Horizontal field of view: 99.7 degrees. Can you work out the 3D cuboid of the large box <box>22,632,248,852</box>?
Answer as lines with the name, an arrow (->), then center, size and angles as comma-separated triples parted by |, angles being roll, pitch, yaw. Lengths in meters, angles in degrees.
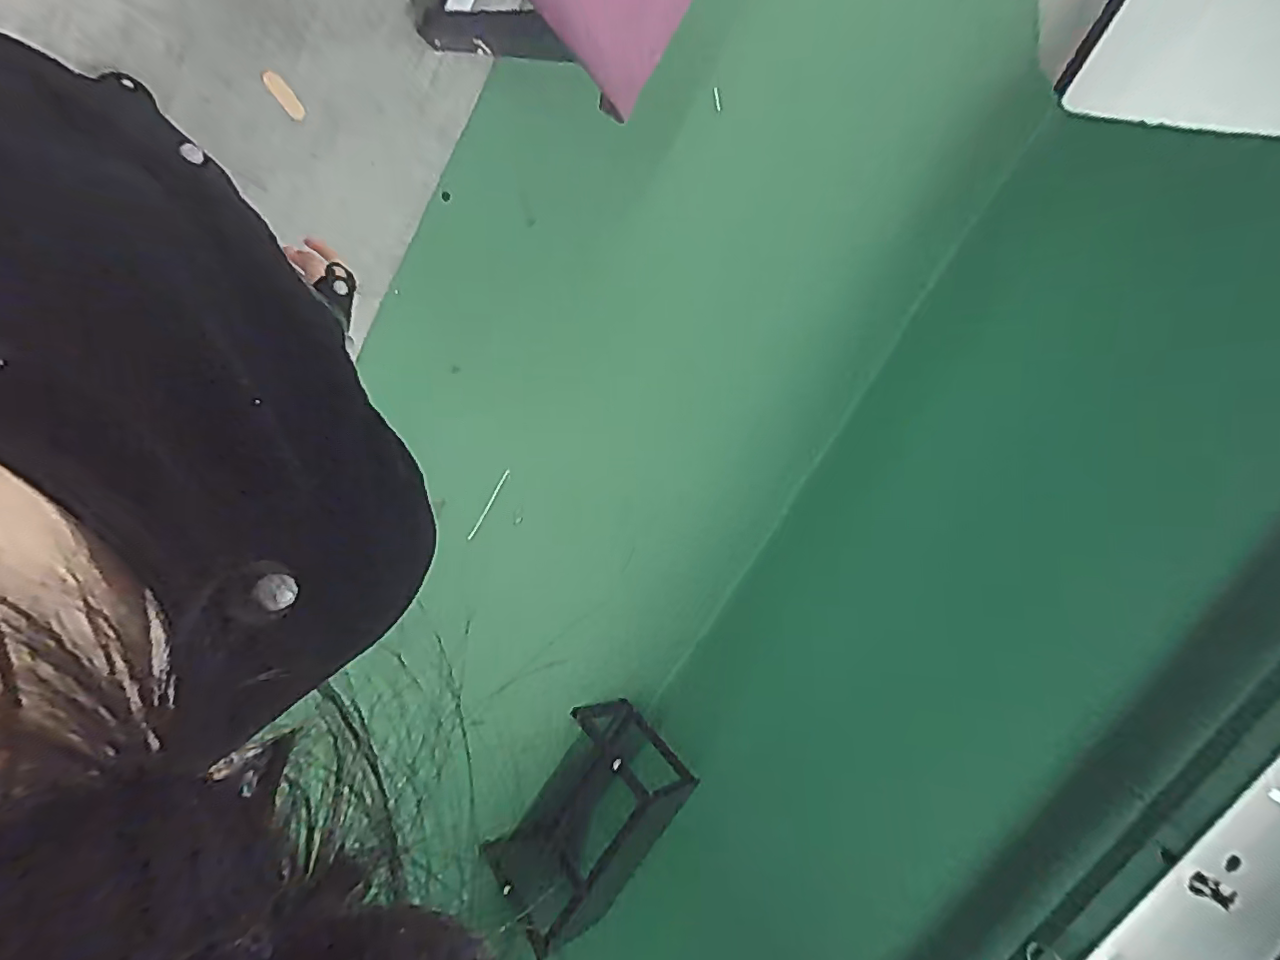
large box -> -1.341, 0.667, 1.451 | 0.408, 0.320, 0.320 | -4, 124, -48
